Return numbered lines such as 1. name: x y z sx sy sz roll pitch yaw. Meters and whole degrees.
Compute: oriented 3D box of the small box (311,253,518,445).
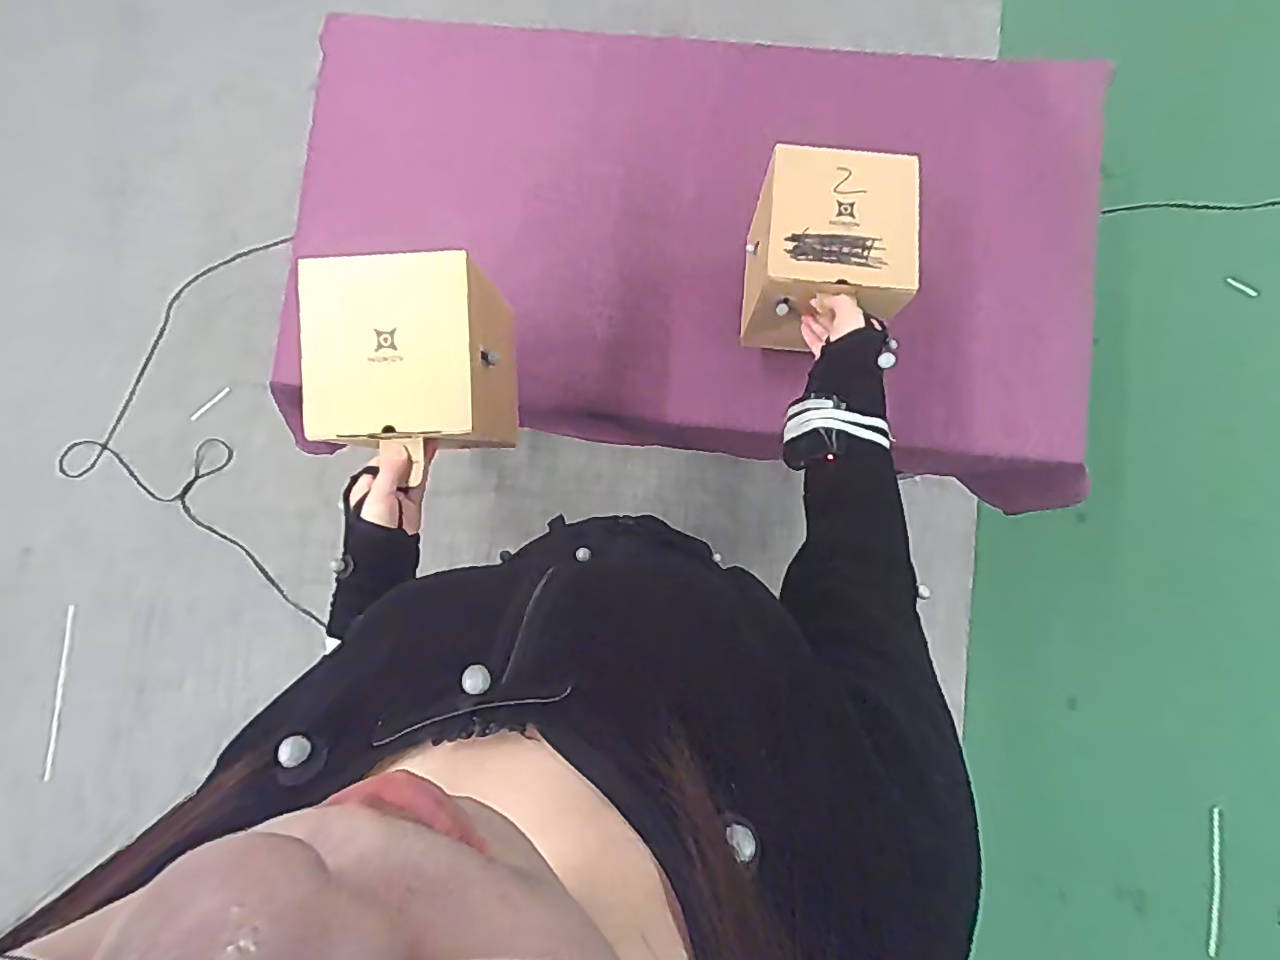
1. small box: -0.240 -0.135 0.611 0.168 0.176 0.179 -2 90 2
